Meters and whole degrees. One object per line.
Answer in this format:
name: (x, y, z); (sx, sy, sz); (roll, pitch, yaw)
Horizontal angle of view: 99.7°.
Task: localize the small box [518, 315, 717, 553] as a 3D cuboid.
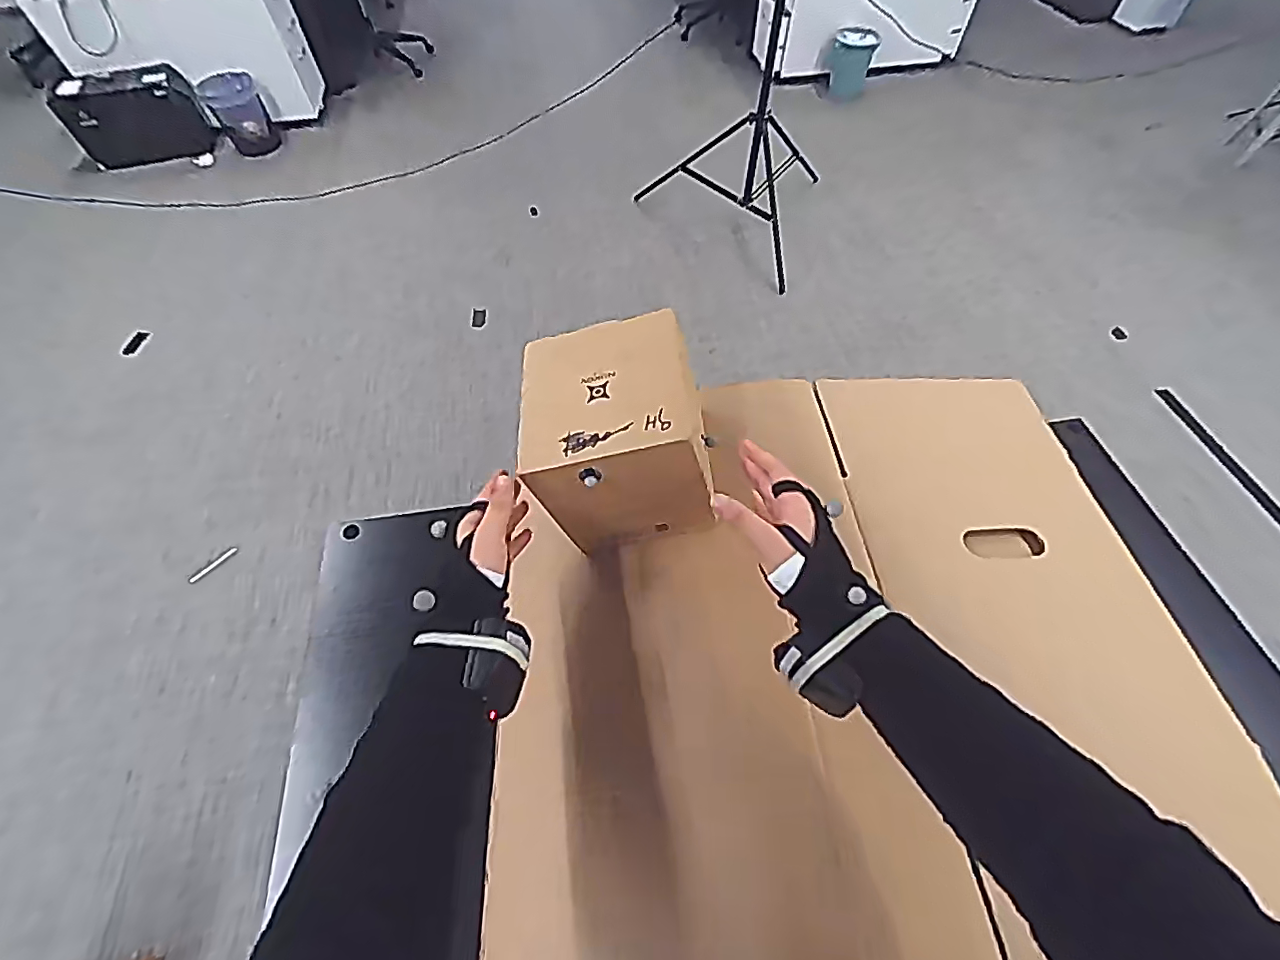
small box: (-0.017, -0.043, 0.591); (0.168, 0.176, 0.179); (-12, 54, 11)
